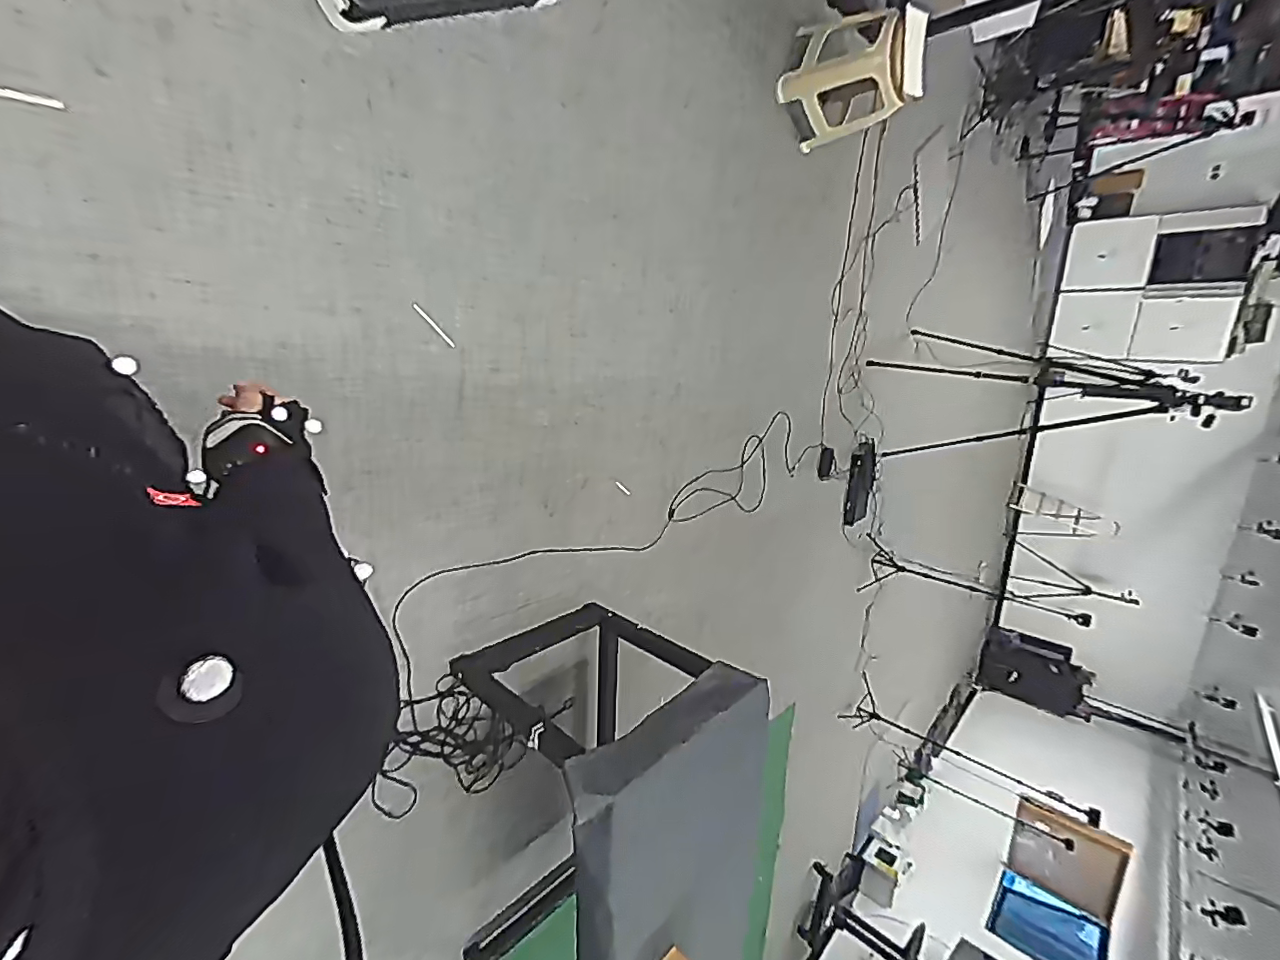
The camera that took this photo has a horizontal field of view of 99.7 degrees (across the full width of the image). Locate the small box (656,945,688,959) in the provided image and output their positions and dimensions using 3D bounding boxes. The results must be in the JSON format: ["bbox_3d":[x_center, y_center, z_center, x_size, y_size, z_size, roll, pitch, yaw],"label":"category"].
[{"bbox_3d":[0.087,1.329,1.343,0.168,0.176,0.179,-15,111,-44],"label":"small box"}]
